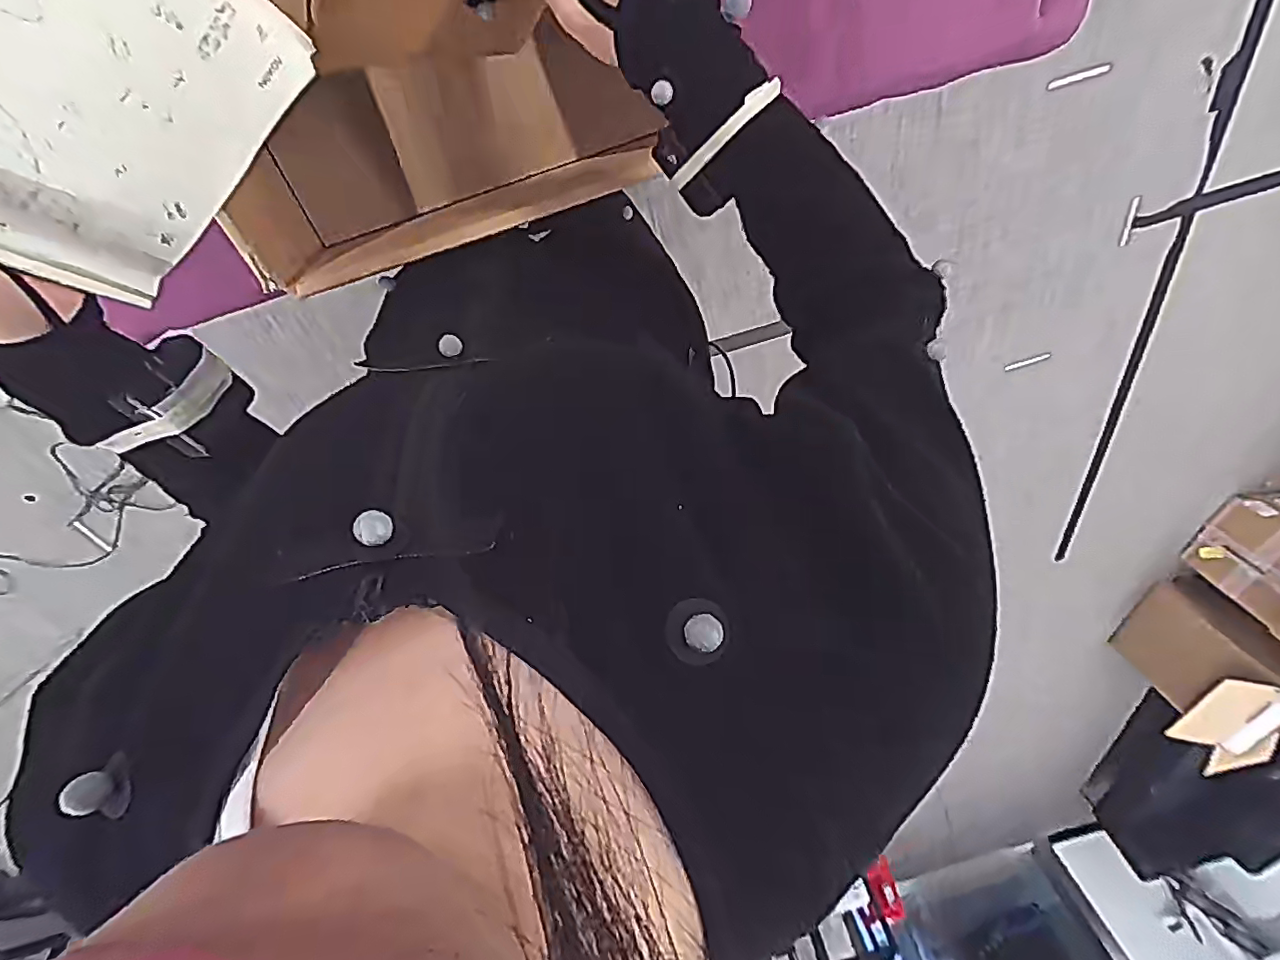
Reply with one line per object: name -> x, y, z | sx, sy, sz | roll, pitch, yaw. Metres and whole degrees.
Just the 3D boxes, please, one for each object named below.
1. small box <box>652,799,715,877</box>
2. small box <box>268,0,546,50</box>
small box -> 0.151, 1.244, 1.884 | 0.168, 0.176, 0.179 | -18, 129, 1
small box -> -0.143, -0.385, 0.306 | 0.176, 0.168, 0.179 | -32, 112, -30
